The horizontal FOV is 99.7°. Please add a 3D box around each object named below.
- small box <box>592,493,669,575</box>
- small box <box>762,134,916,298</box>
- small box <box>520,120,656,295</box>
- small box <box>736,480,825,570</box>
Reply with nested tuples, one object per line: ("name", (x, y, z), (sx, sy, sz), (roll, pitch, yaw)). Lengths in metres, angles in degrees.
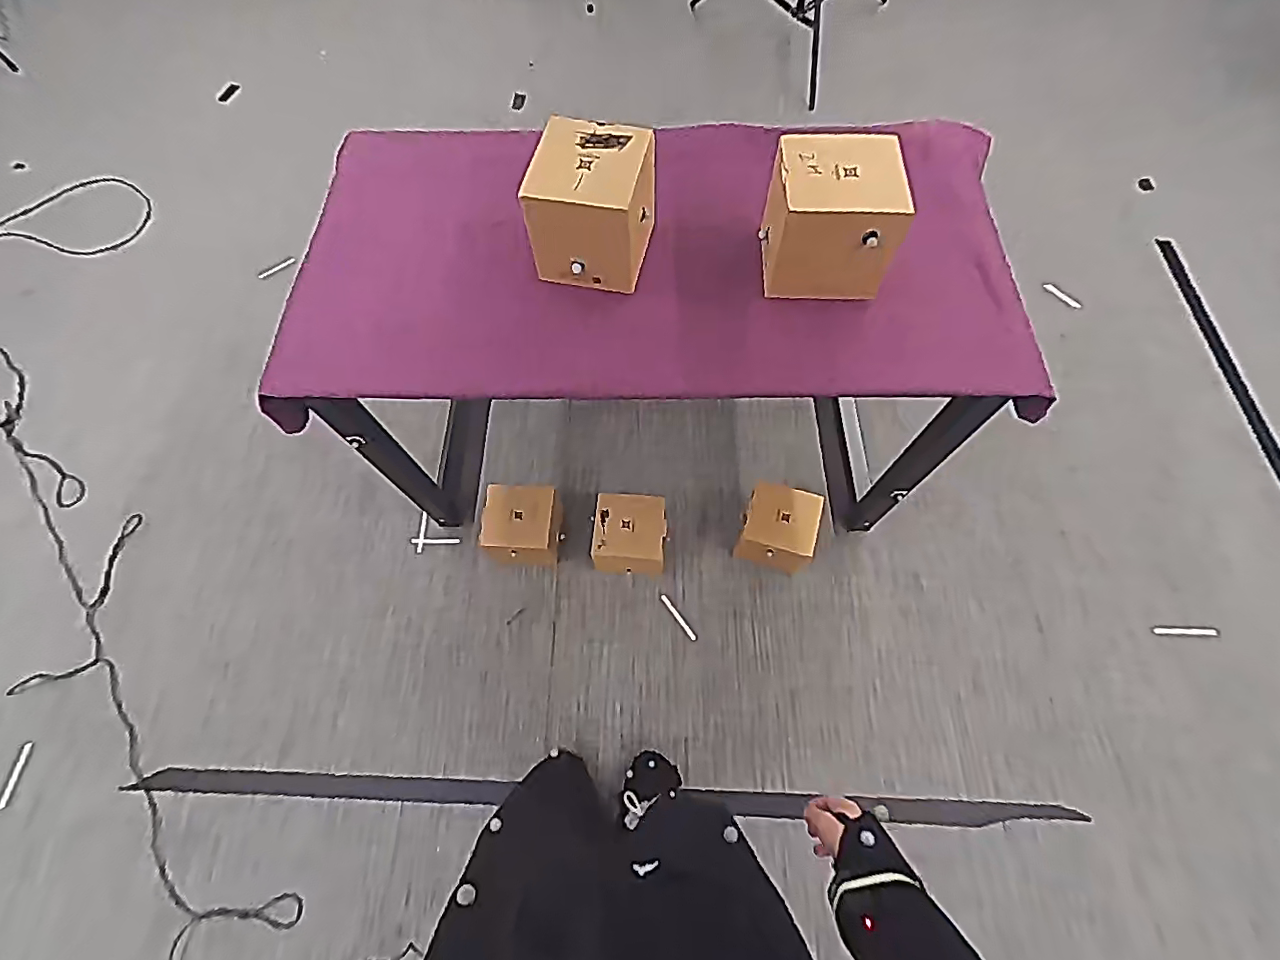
("small box", (-0.020, 0.147, 1.407), (0.179, 0.176, 0.168), (4, 67, 4))
("small box", (0.295, -0.402, 0.841), (0.179, 0.176, 0.168), (2, 65, 3))
("small box", (-0.073, -0.430, 0.867), (0.168, 0.176, 0.179), (11, 68, 7))
("small box", (0.360, 0.124, 1.406), (0.179, 0.176, 0.168), (15, 68, 10))
